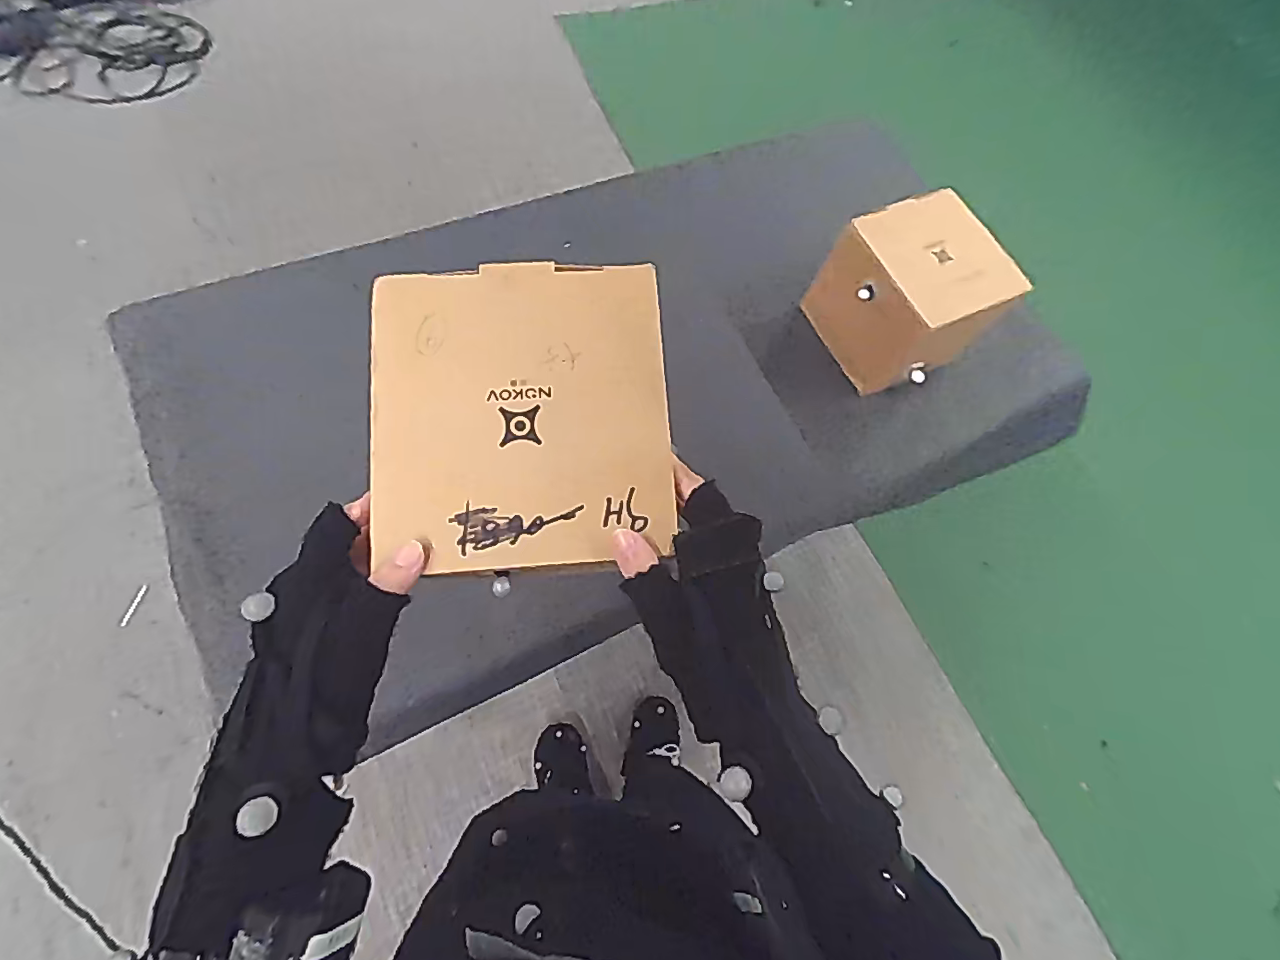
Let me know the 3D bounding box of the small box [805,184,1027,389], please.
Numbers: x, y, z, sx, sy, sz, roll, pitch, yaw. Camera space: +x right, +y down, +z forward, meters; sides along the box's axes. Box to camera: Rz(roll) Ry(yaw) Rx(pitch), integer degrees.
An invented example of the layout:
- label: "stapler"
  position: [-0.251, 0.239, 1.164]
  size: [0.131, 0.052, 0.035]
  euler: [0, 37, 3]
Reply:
- label: "small box"
  position: [0.358, -0.256, 0.739]
  size: [0.168, 0.176, 0.179]
  euler: [-24, 75, -13]

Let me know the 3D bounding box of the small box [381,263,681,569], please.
- label: "small box"
  position: [-0.064, -0.029, 0.387]
  size: [0.168, 0.176, 0.179]
  euler: [-3, 81, -1]
